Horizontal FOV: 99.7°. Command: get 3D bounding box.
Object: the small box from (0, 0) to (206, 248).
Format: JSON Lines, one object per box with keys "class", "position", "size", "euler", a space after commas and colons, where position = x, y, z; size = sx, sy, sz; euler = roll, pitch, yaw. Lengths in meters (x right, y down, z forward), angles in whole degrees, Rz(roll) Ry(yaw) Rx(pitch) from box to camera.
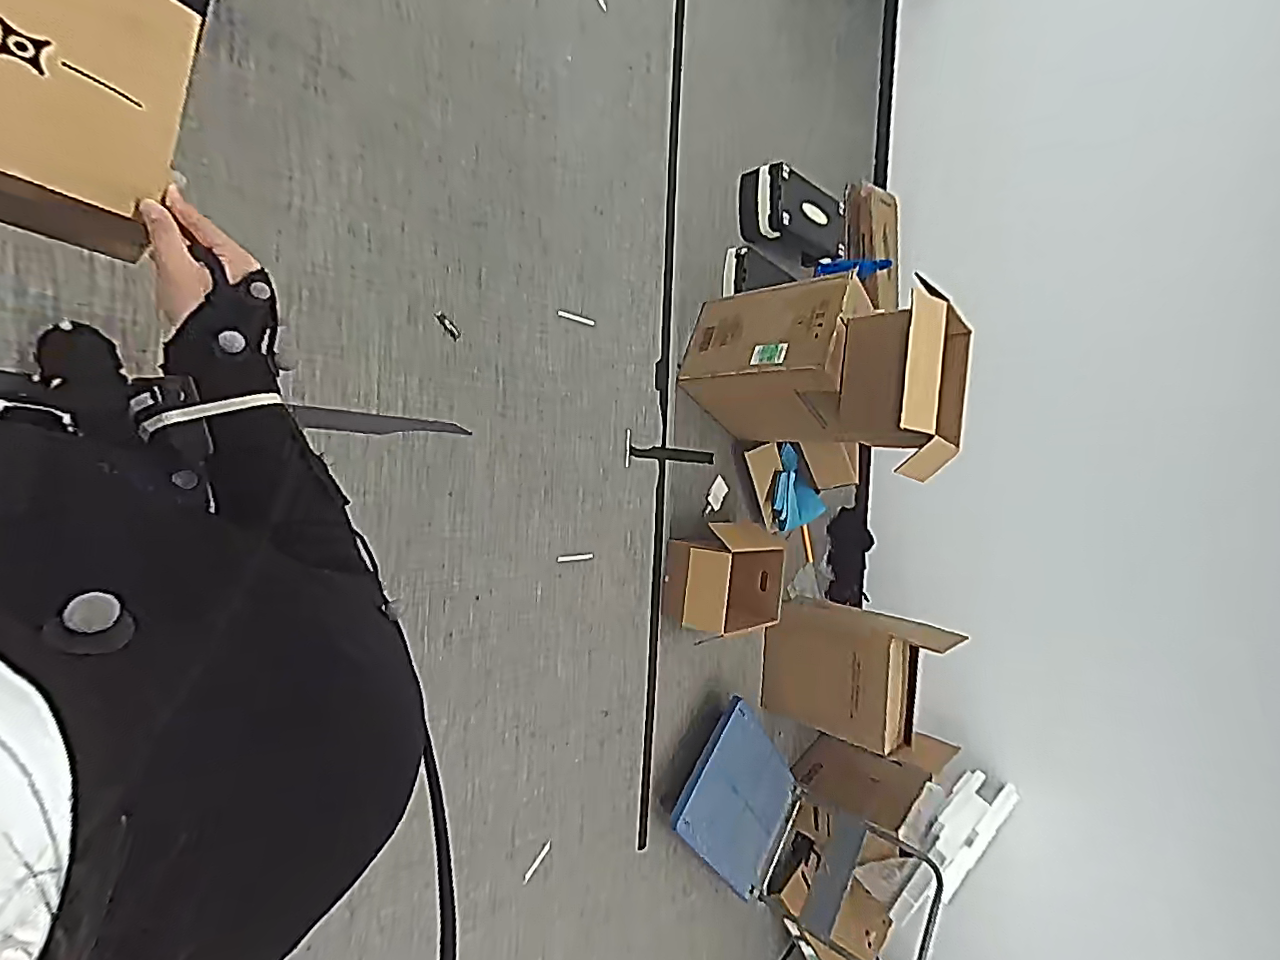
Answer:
{"class": "small box", "position": [-0.456, -0.291, 0.393], "size": [0.179, 0.176, 0.168], "euler": [12, 88, -49]}
